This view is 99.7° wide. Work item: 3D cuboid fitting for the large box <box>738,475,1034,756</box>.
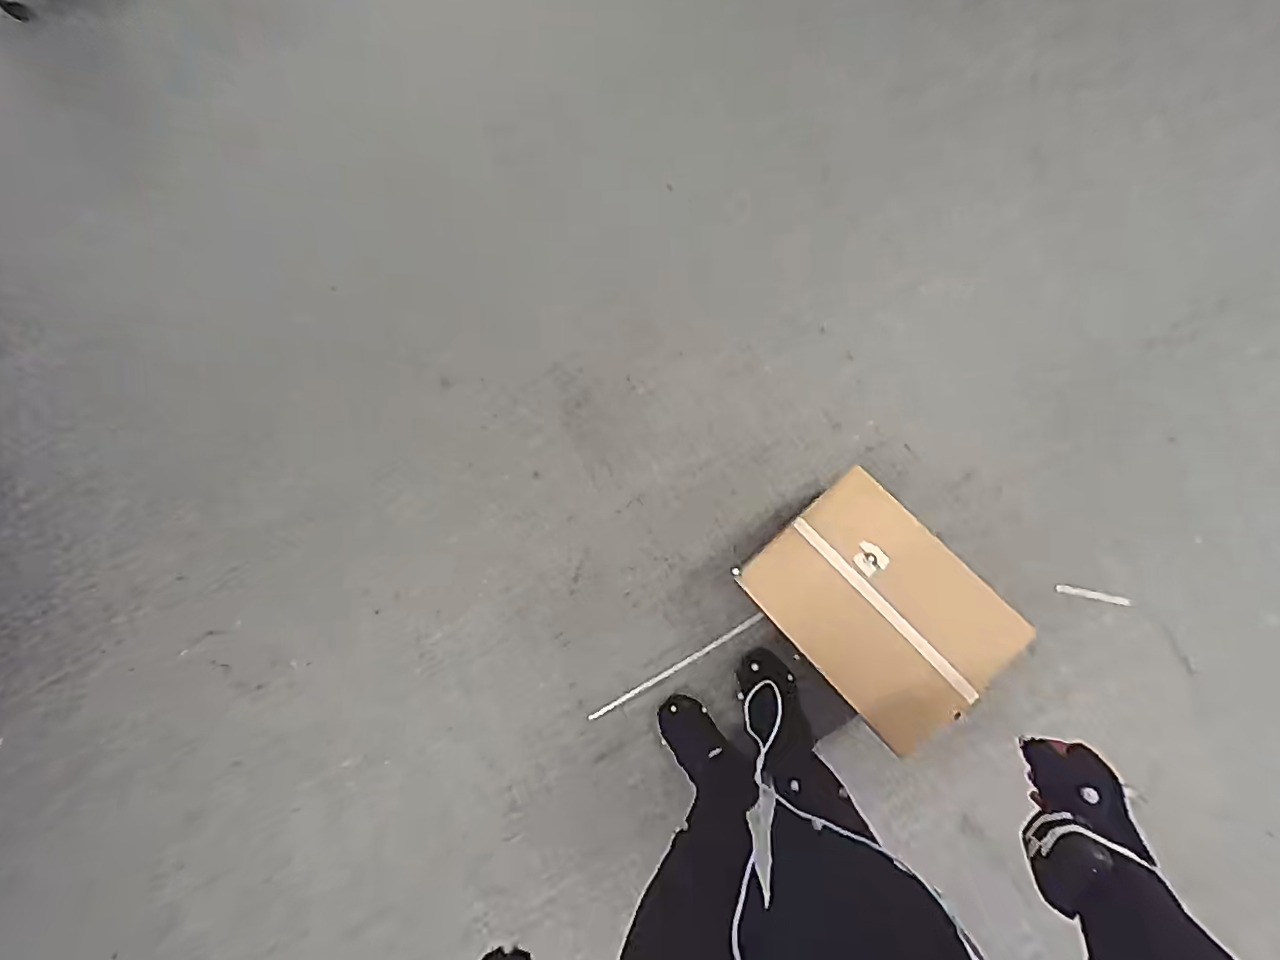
[{"bbox_3d":[0.452,0.254,1.101,0.320,0.320,0.408,-44,76,0],"label":"large box"}]
